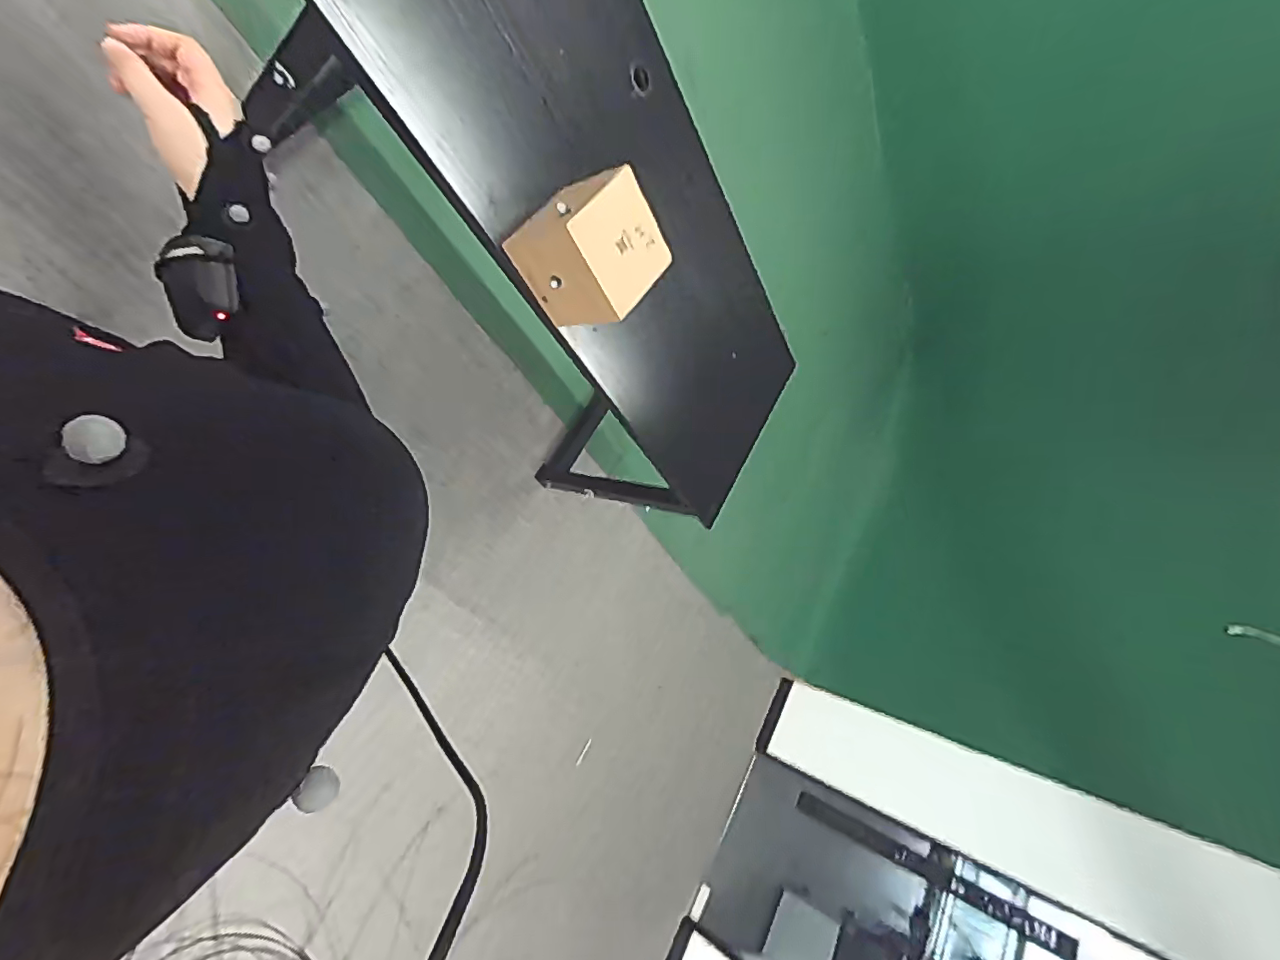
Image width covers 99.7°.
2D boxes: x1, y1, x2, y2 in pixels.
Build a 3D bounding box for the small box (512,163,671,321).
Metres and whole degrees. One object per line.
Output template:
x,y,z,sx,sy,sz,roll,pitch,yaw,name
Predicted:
-0.086,-0.382,0.897,0.179,0.176,0.168,-55,133,-24,small box
